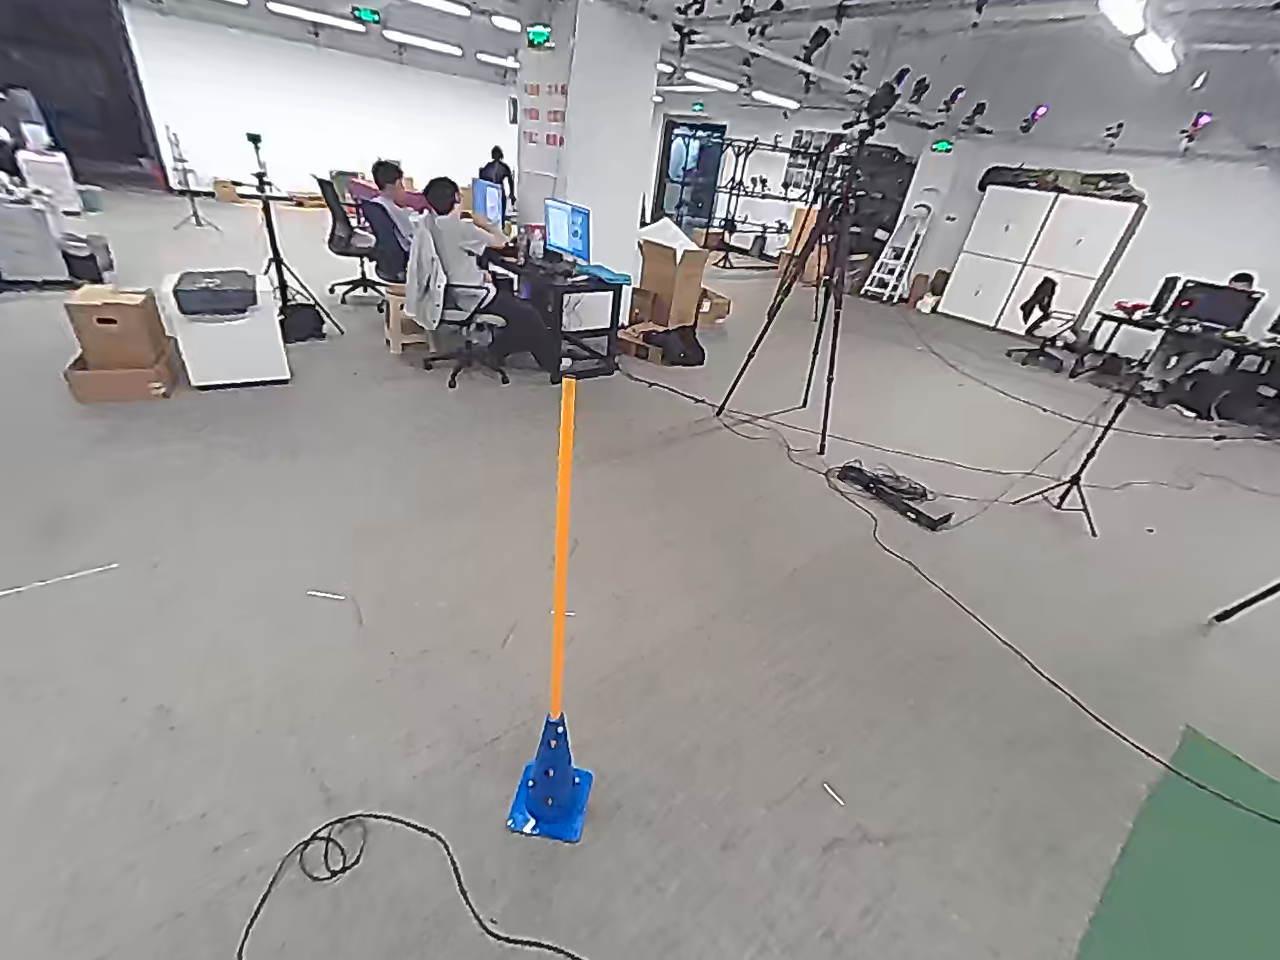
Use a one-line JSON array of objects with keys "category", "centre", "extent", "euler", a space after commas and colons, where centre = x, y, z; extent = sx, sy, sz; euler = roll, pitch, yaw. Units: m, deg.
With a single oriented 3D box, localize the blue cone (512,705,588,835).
[{"category": "blue cone", "centre": [-0.225, 0.725, 1.407], "extent": [0.192, 0.380, 0.193], "euler": [9, 28, 1]}]
